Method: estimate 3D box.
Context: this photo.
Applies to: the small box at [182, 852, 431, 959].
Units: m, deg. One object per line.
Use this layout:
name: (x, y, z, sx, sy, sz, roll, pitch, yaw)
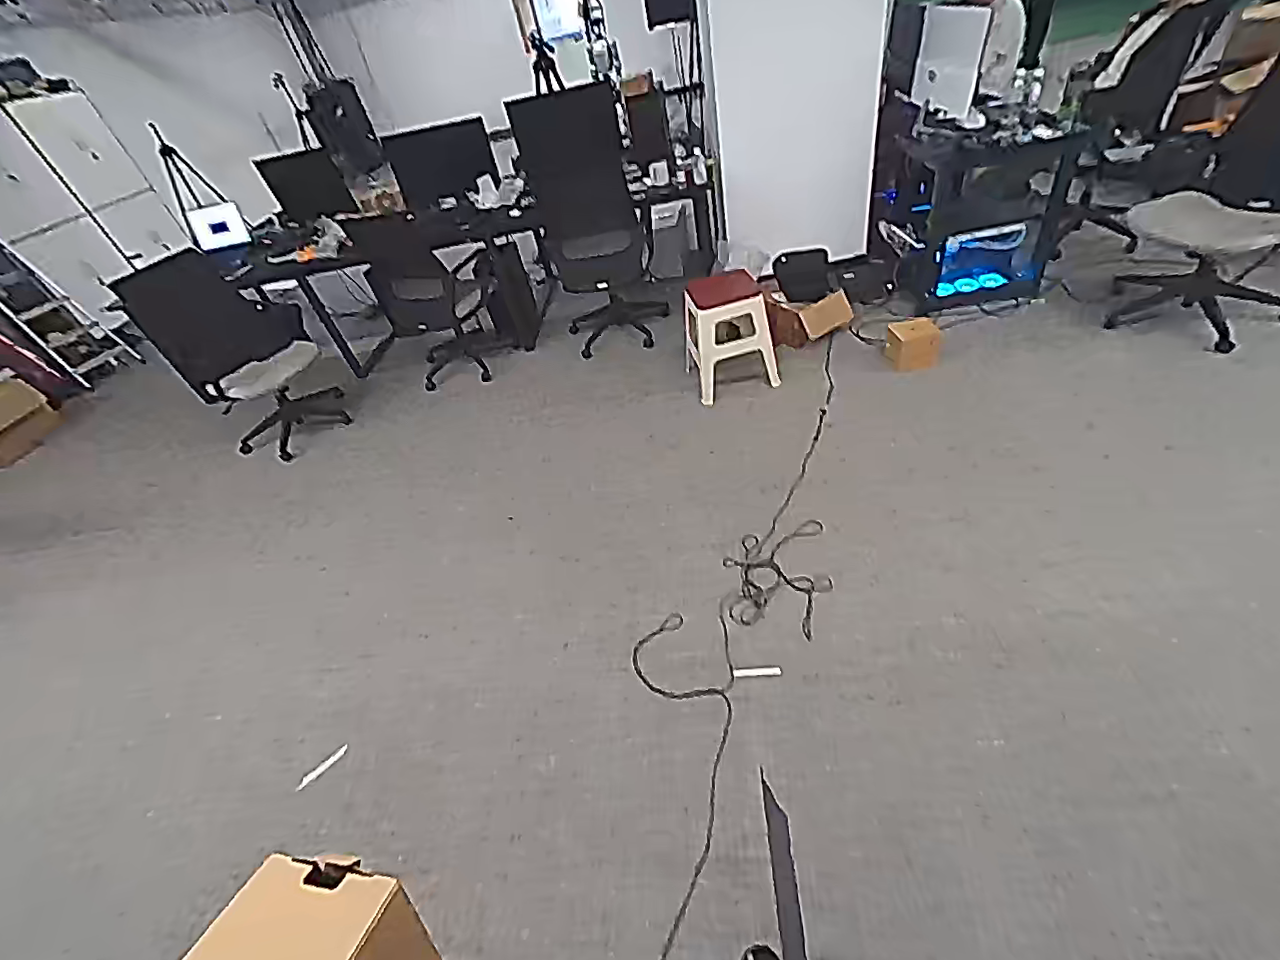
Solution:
small box: (-0.316, 0.495, 0.499, 0.168, 0.176, 0.179, -3, 22, 17)
